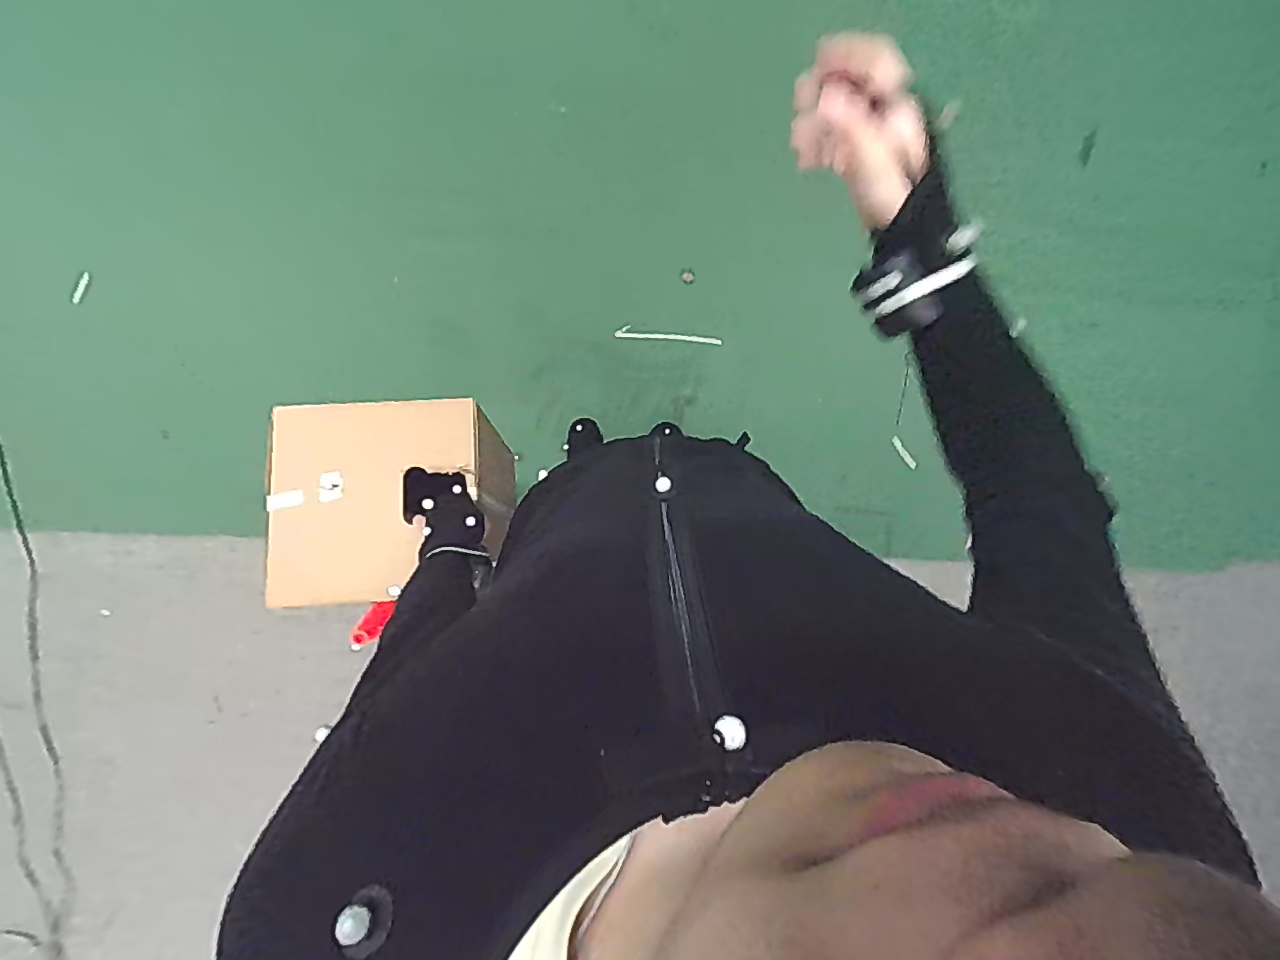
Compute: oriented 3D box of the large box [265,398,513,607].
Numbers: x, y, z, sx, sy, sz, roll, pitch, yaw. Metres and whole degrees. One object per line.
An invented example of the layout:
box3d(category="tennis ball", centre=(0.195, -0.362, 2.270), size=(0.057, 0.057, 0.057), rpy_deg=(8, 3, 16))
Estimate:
box3d(category="large box", centre=(-0.430, 0.055, 1.018), size=(0.320, 0.408, 0.320), rpy_deg=(-3, 81, -6))
